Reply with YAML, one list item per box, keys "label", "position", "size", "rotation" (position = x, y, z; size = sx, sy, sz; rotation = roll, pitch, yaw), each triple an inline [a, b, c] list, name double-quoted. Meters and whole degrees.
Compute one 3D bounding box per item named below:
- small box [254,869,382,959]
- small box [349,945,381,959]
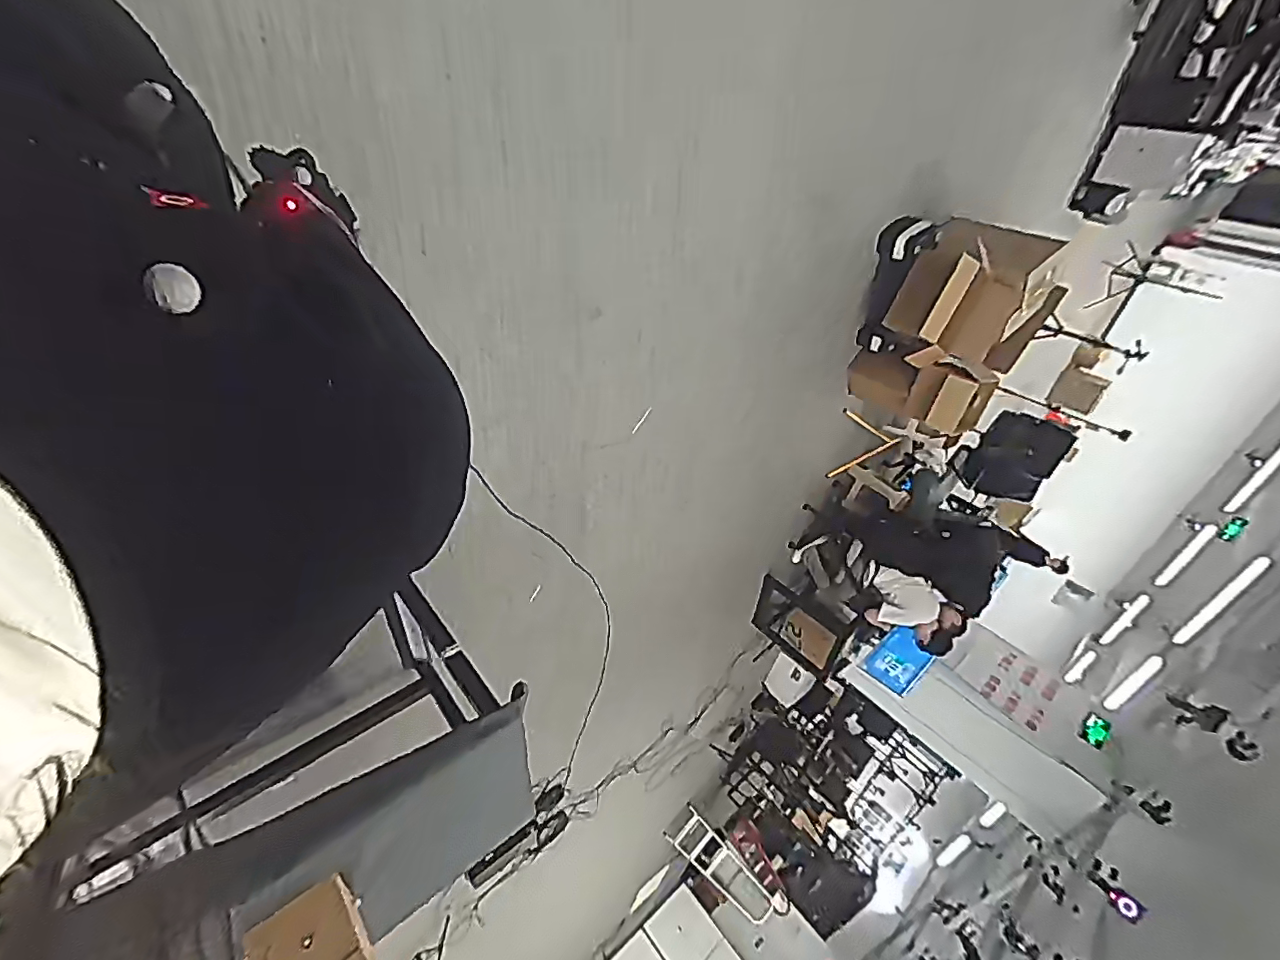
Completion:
- label: "small box"
  position: [-0.666, 0.966, 1.117]
  size: [0.179, 0.176, 0.168]
  rotation: [-26, 137, -35]
- label: "small box"
  position: [-0.554, 1.045, 1.027]
  size: [0.168, 0.176, 0.179]
  rotation: [-26, 137, -34]
